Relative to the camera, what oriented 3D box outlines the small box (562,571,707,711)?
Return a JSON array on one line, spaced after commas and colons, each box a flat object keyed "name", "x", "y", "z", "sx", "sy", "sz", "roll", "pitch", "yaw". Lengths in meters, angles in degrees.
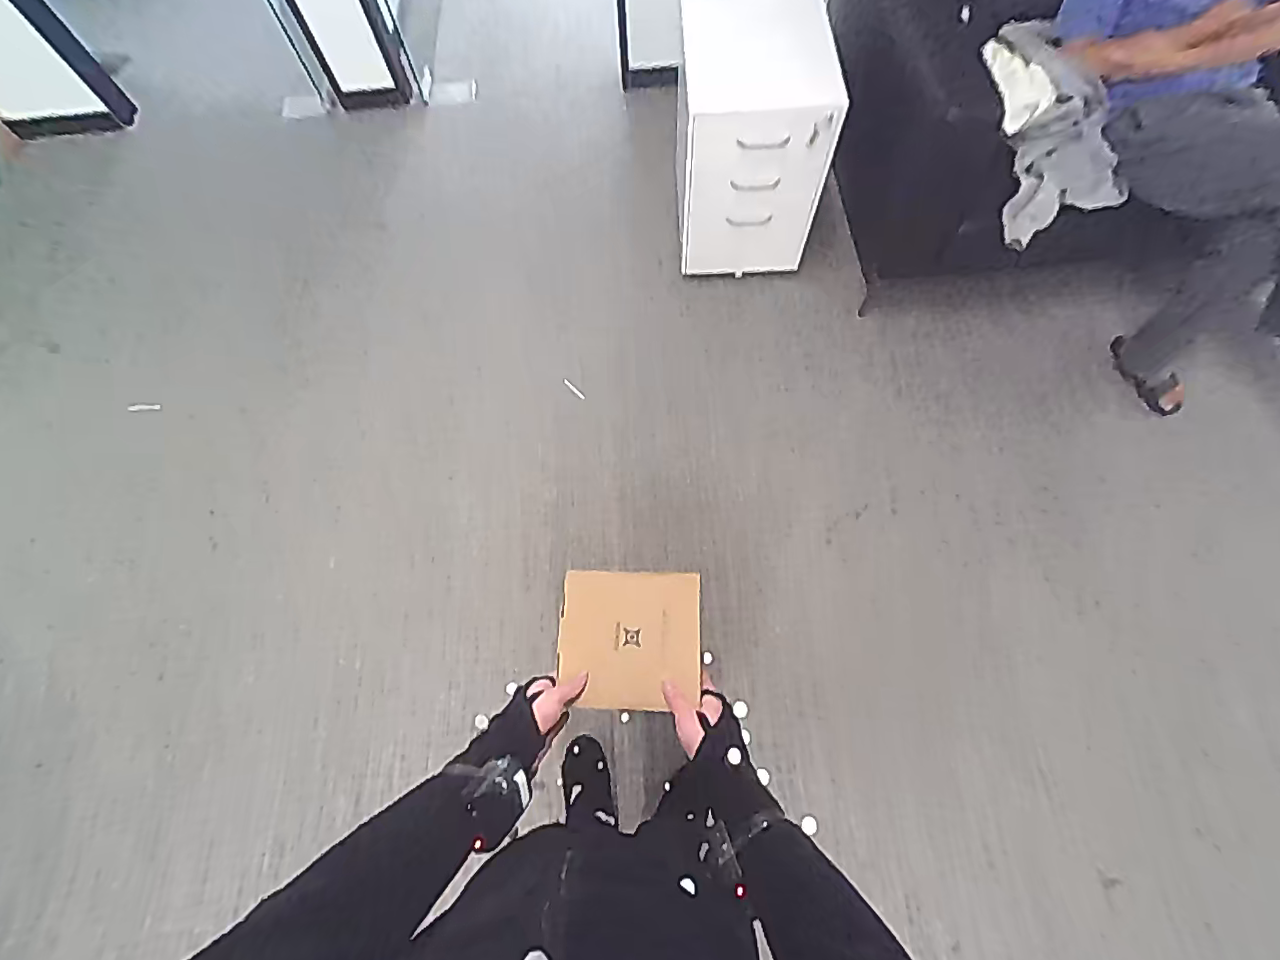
[{"name": "small box", "x": 0.000, "y": 0.224, "z": 0.739, "sx": 0.179, "sy": 0.176, "sz": 0.168, "roll": 0, "pitch": 67, "yaw": 3}]
